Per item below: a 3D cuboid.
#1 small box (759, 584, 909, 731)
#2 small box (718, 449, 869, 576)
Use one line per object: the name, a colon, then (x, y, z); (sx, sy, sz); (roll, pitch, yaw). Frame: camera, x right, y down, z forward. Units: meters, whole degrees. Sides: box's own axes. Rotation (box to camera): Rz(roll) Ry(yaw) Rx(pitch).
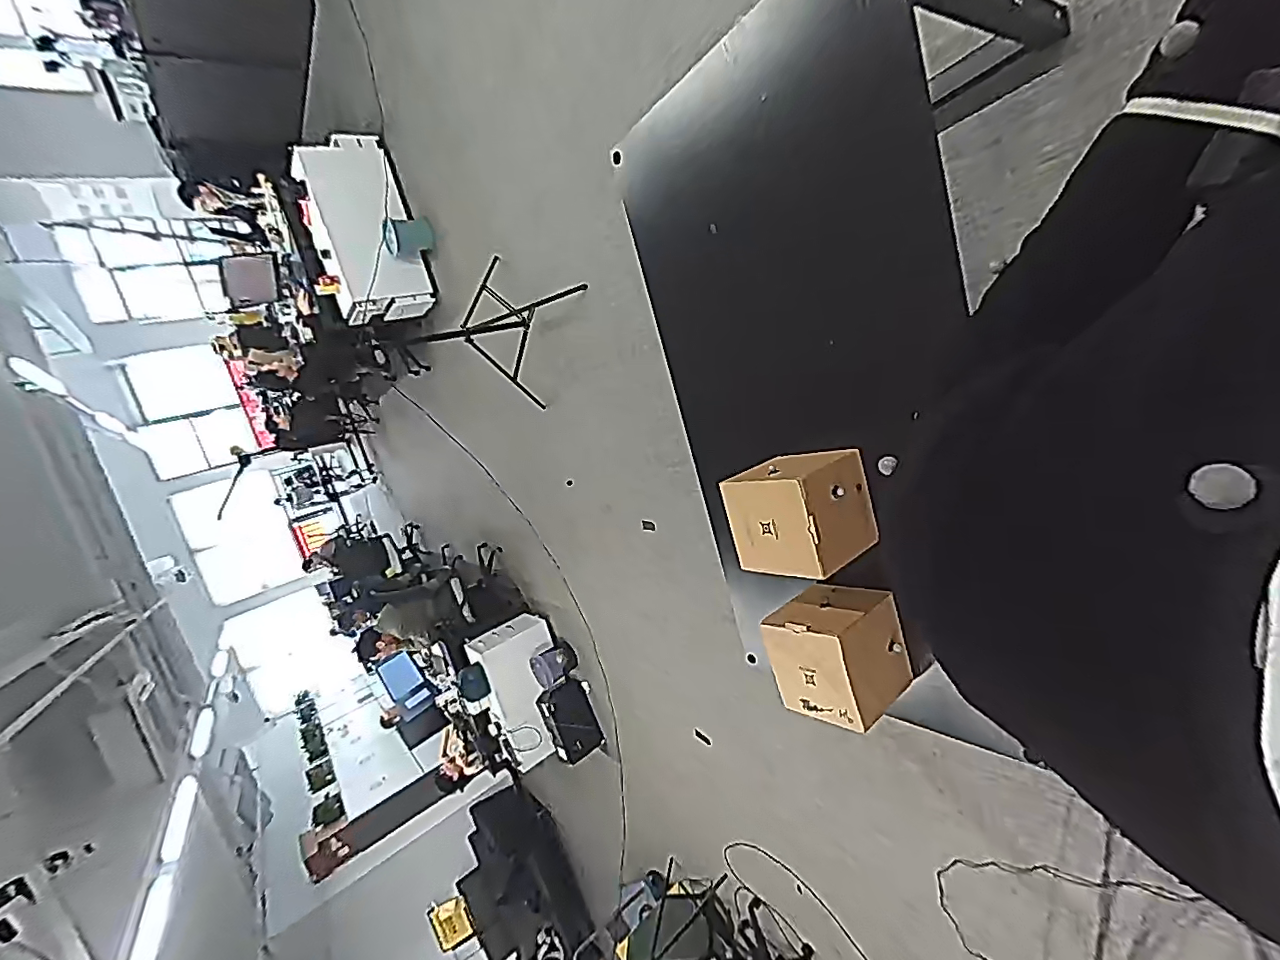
small box: (0.345, 0.299, 0.959); (0.168, 0.176, 0.179); (-7, 102, 55)
small box: (0.269, 0.050, 0.926); (0.179, 0.176, 0.168); (-4, 104, 55)
